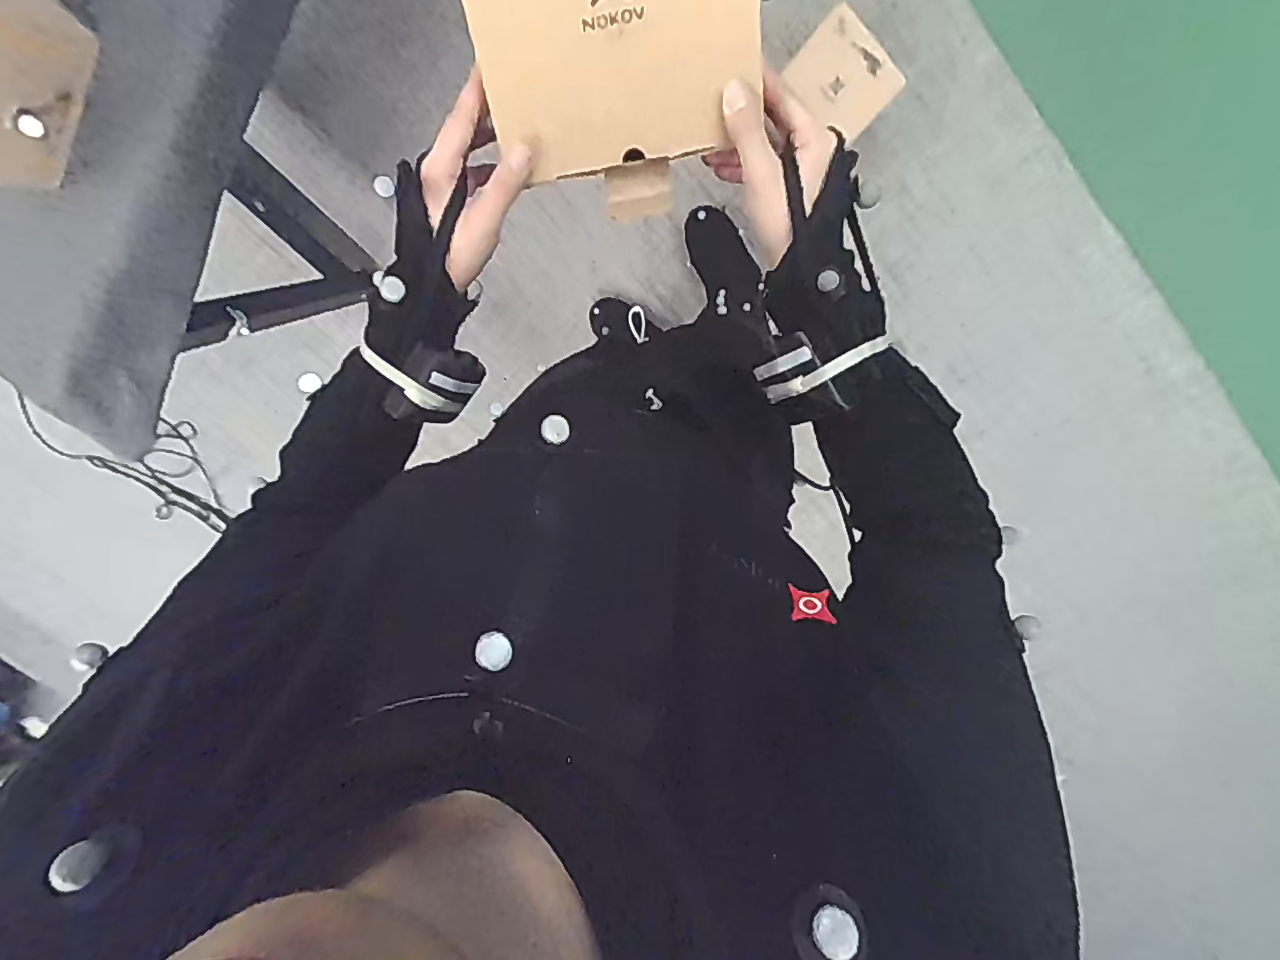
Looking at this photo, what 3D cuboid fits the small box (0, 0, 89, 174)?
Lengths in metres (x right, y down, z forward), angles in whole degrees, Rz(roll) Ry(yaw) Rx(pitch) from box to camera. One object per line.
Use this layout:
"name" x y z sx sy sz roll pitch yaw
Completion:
"small box" -0.620 -0.370 0.428 0.179 0.176 0.168 41 115 -14
